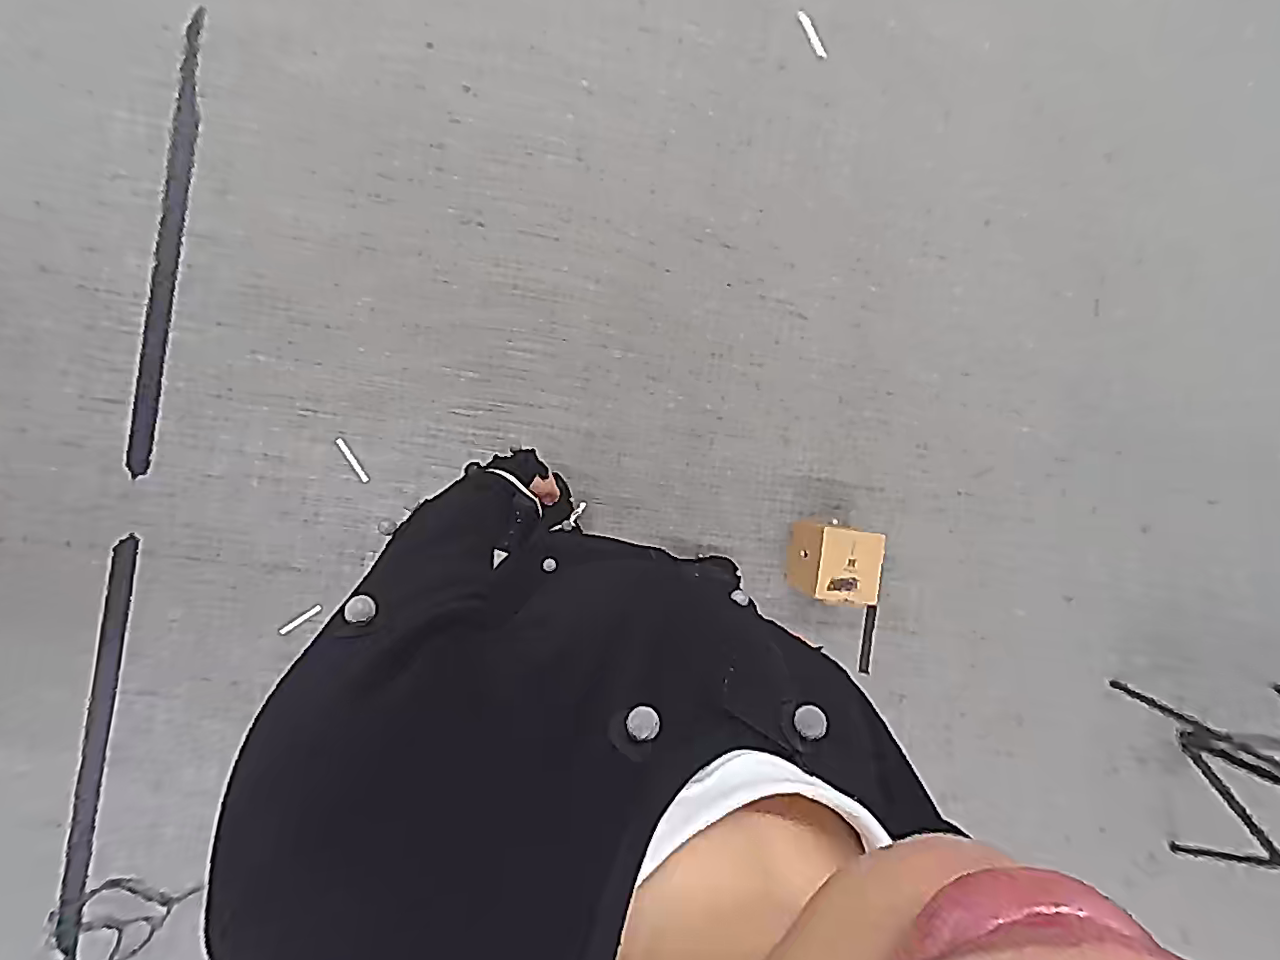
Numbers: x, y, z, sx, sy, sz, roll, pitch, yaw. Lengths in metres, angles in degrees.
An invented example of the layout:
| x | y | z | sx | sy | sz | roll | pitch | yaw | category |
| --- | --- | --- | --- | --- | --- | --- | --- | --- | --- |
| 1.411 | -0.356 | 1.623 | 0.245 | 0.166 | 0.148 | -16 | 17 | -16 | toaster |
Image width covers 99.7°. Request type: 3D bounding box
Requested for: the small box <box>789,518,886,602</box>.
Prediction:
| x | y | z | sx | sy | sz | roll | pitch | yaw | category |
| --- | --- | --- | --- | --- | --- | --- | --- | --- | --- |
| 0.500 | 0.201 | 1.395 | 0.168 | 0.176 | 0.179 | 9 | 90 | -9 | small box |
